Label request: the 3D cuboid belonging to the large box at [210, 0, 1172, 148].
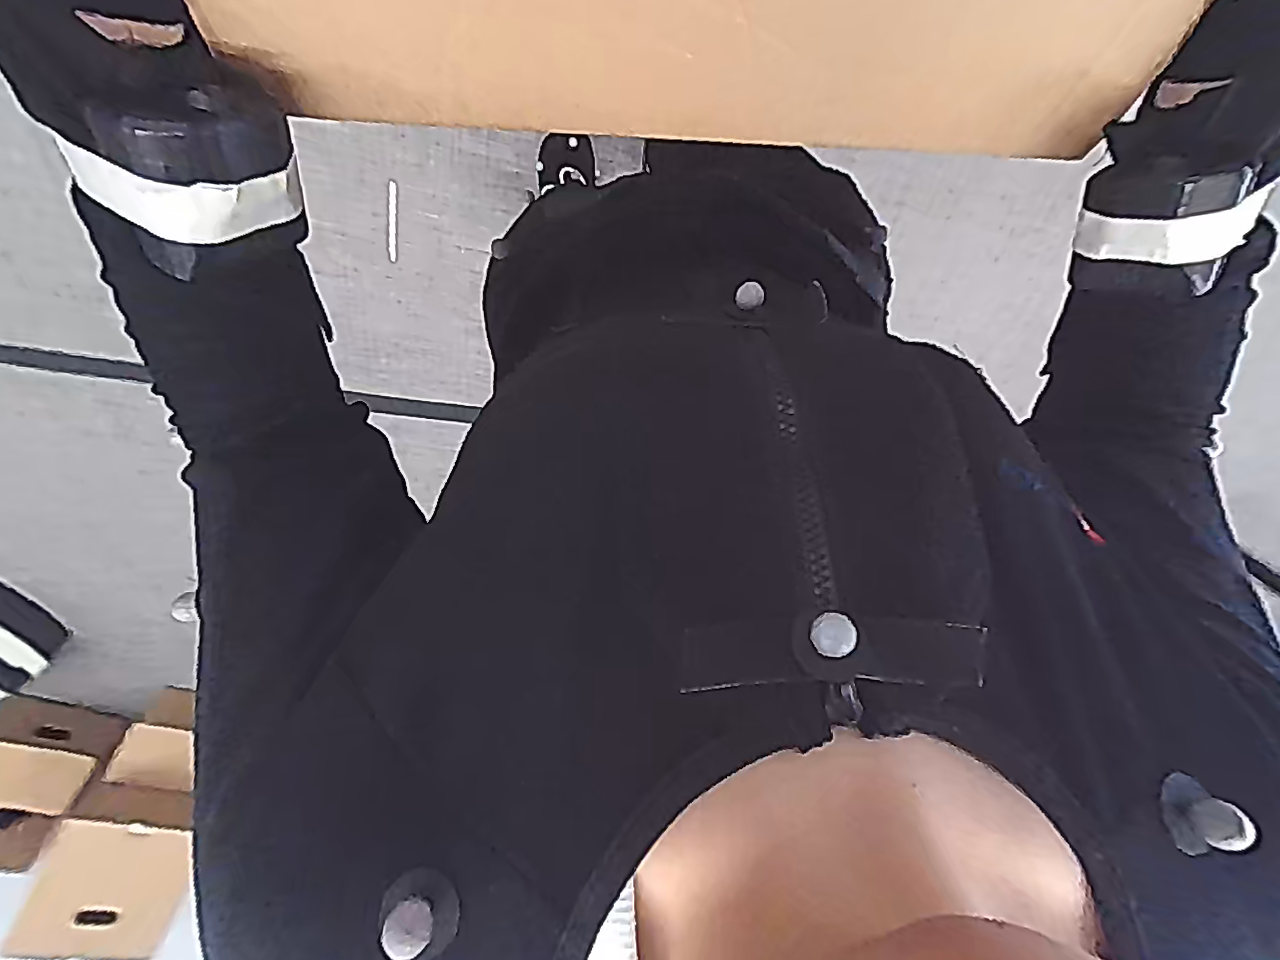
[{"bbox_3d":[0.032,-0.368,0.193,0.408,0.320,0.320,-4,154,-9],"label":"large box"}]
